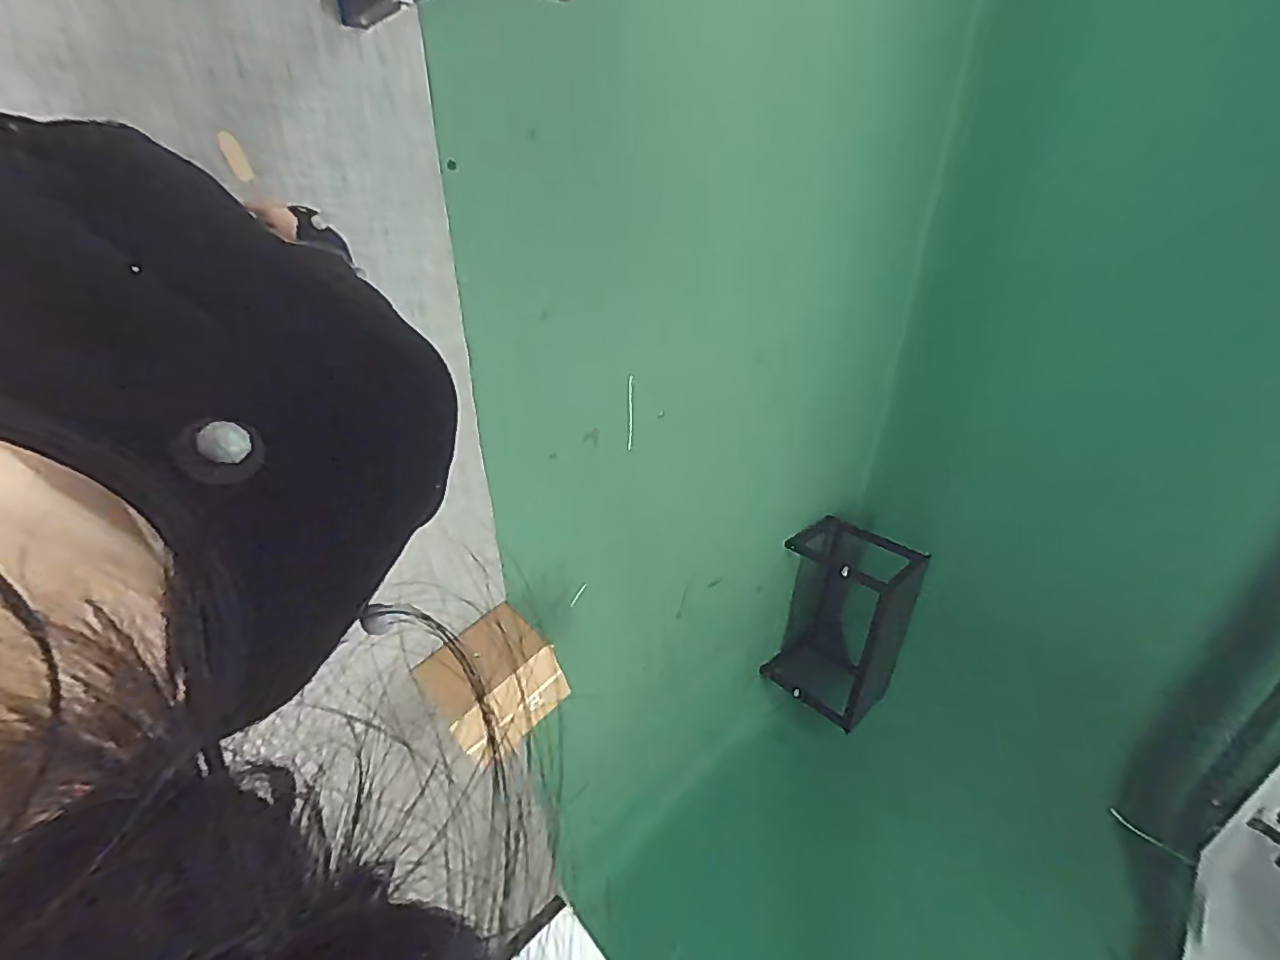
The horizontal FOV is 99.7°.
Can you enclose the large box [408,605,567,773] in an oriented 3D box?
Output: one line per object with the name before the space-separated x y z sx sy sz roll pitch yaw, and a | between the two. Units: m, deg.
large box | -0.542 0.740 1.958 0.408 0.320 0.320 -37 134 -29
